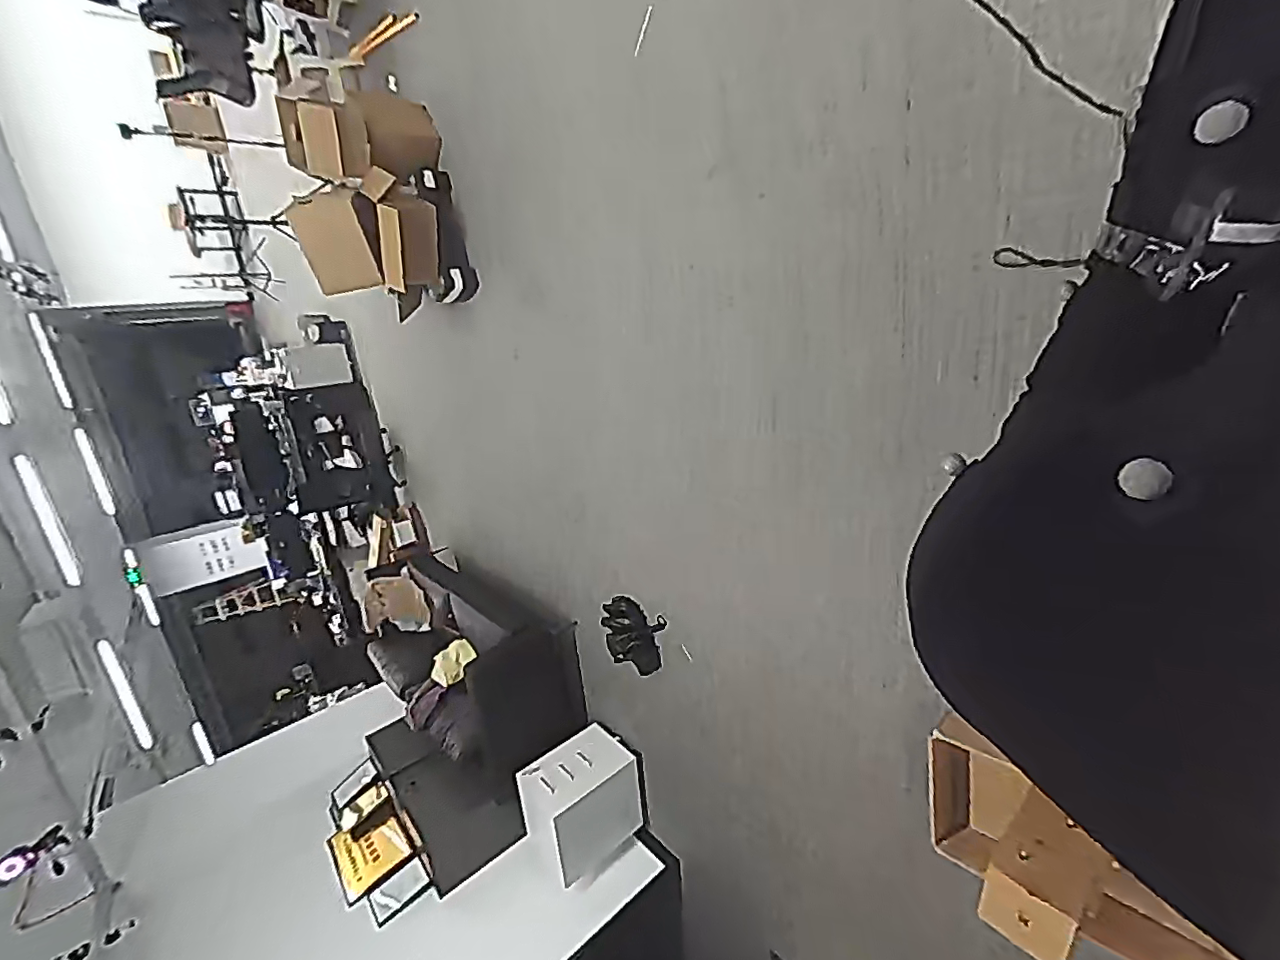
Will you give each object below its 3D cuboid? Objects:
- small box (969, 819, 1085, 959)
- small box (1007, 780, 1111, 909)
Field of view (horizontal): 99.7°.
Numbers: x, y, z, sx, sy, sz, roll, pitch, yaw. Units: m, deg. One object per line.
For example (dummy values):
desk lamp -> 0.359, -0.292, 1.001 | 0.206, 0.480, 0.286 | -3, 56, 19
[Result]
small box -> 0.887, 0.934, 1.238 | 0.168, 0.176, 0.179 | 19, 121, 47
small box -> 1.025, 0.885, 1.338 | 0.179, 0.176, 0.168 | 15, 117, 45
